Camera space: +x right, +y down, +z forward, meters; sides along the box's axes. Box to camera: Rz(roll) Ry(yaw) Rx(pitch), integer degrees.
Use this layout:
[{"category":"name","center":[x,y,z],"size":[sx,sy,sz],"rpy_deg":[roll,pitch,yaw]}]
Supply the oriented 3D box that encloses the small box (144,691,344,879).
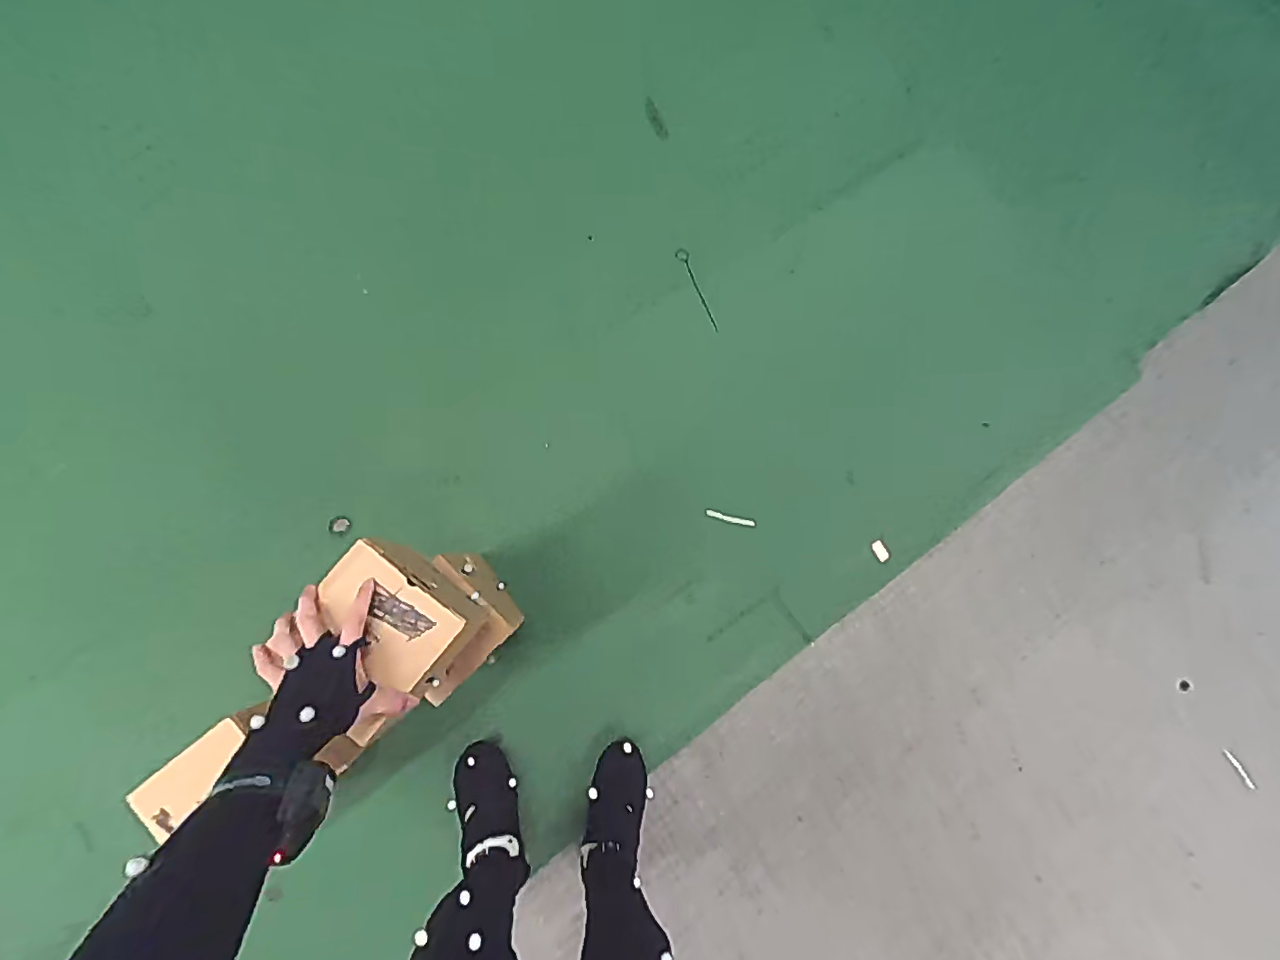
[{"category":"small box","center":[-0.618,0.475,0.877],"size":[0.179,0.176,0.168],"rpy_deg":[-39,86,-9]}]

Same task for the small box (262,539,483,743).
[{"category":"small box","center":[-0.327,0.197,0.709],"size":[0.168,0.176,0.179],"rpy_deg":[38,80,3]}]

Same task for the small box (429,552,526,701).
[{"category":"small box","center":[-0.320,0.244,0.937],"size":[0.179,0.176,0.168],"rpy_deg":[45,81,2]}]

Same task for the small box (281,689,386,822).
[{"category":"small box","center":[-0.628,0.497,1.039],"size":[0.168,0.176,0.179],"rpy_deg":[-37,86,-9]}]
